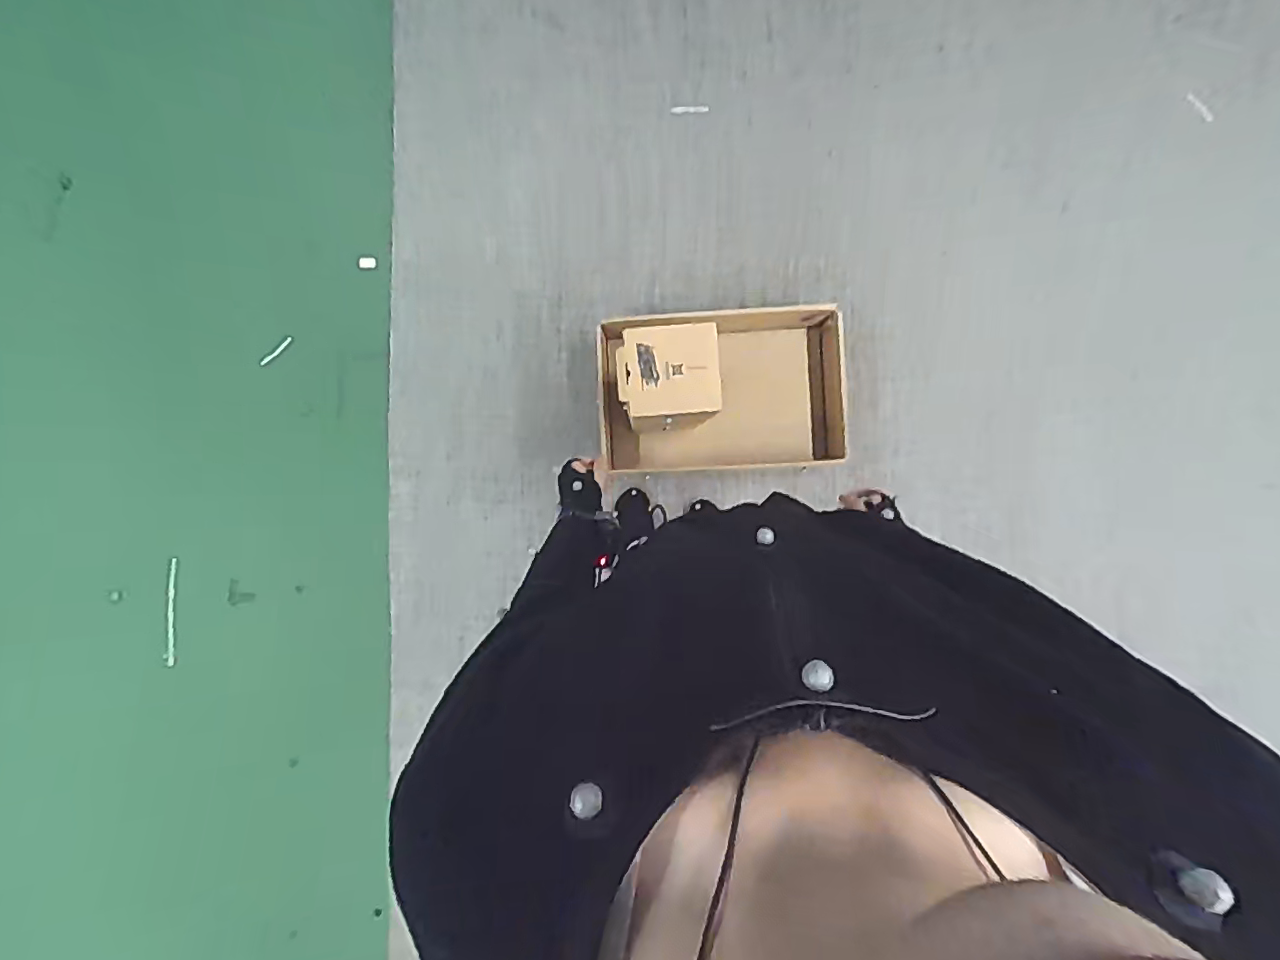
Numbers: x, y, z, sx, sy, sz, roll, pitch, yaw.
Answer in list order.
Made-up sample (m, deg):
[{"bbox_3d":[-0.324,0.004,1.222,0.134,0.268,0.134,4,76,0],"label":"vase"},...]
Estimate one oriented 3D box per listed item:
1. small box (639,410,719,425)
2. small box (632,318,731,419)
[{"bbox_3d":[0.085,-0.219,1.244,0.179,0.176,0.168,-4,91,3],"label":"small box"},{"bbox_3d":[0.082,-0.215,1.080,0.179,0.176,0.168,-4,91,2],"label":"small box"}]
